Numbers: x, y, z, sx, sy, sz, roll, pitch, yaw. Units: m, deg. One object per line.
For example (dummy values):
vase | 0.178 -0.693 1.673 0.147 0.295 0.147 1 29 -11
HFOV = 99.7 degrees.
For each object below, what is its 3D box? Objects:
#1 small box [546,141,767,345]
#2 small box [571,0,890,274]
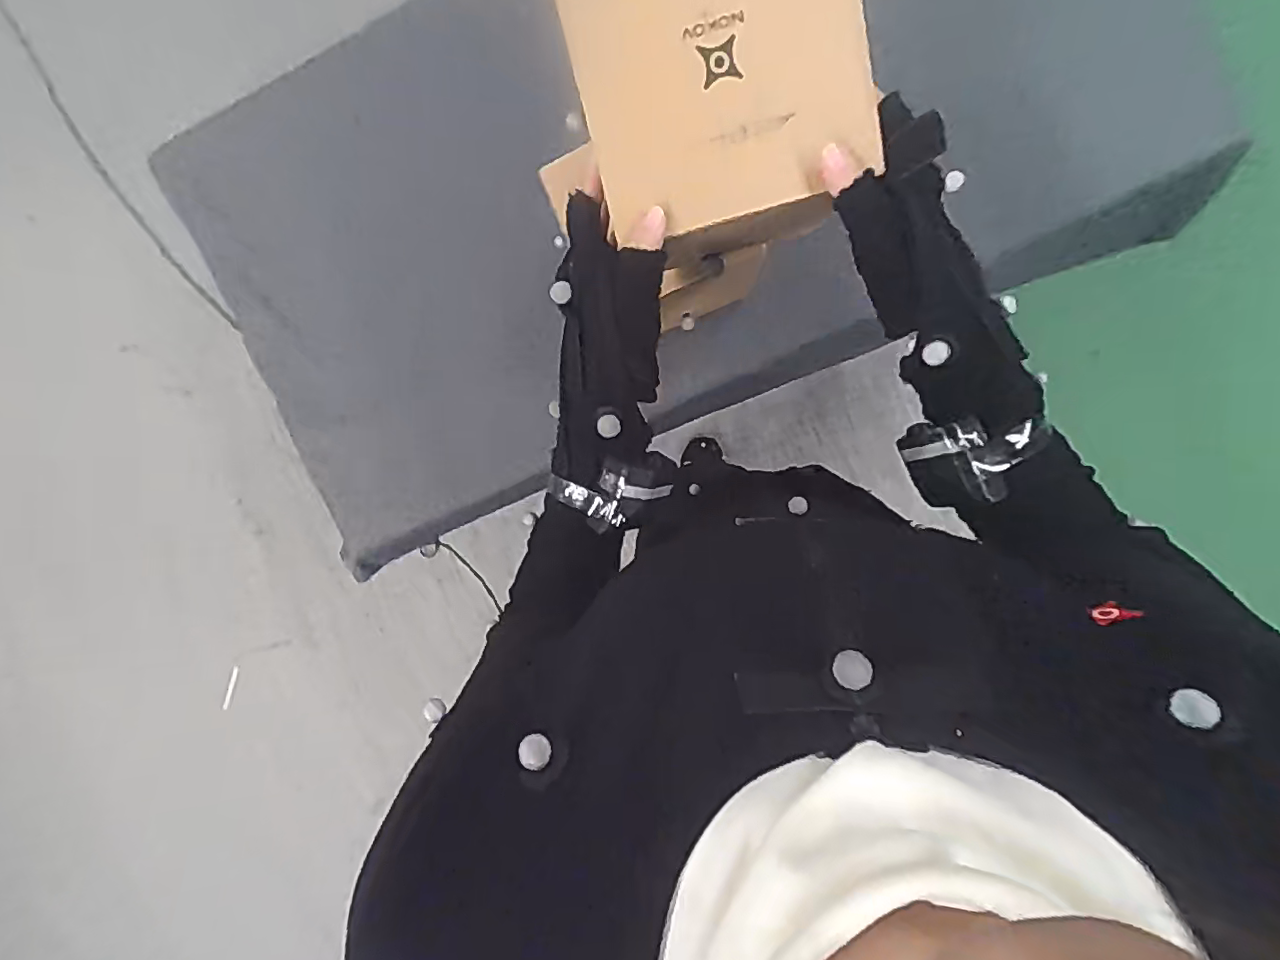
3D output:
small box | 0.020 -0.271 0.609 0.179 0.176 0.168 -23 92 6
small box | 0.052 -0.264 0.385 0.168 0.176 0.179 -13 104 6
